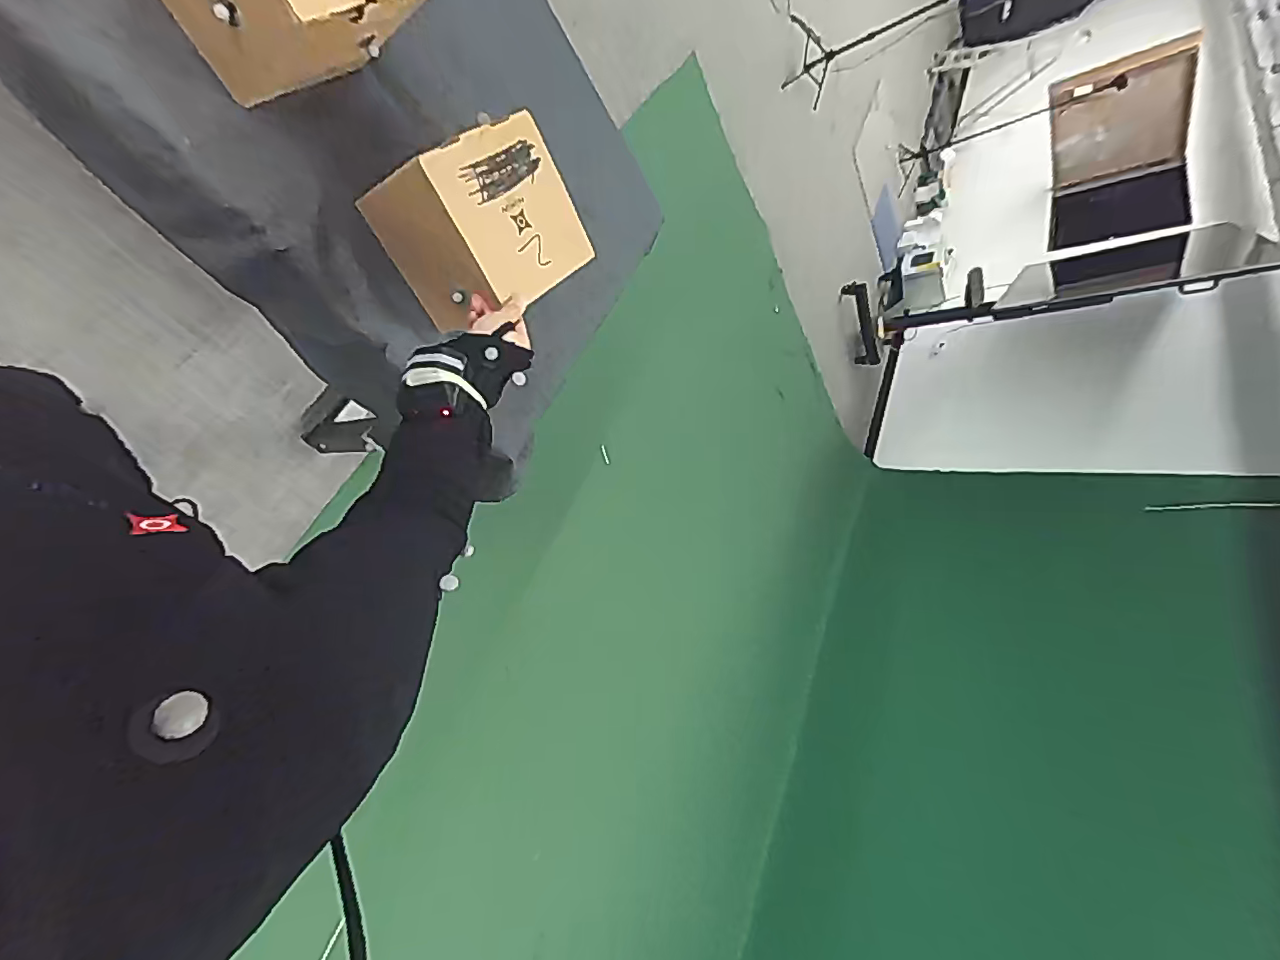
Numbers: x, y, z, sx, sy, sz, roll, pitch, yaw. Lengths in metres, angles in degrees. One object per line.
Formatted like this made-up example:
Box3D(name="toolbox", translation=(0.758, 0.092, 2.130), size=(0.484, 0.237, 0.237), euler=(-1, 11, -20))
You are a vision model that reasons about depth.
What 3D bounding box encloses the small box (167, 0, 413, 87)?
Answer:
Box3D(name="small box", translation=(-0.339, -0.498, 0.494), size=(0.168, 0.176, 0.179), euler=(-56, 130, -34))
